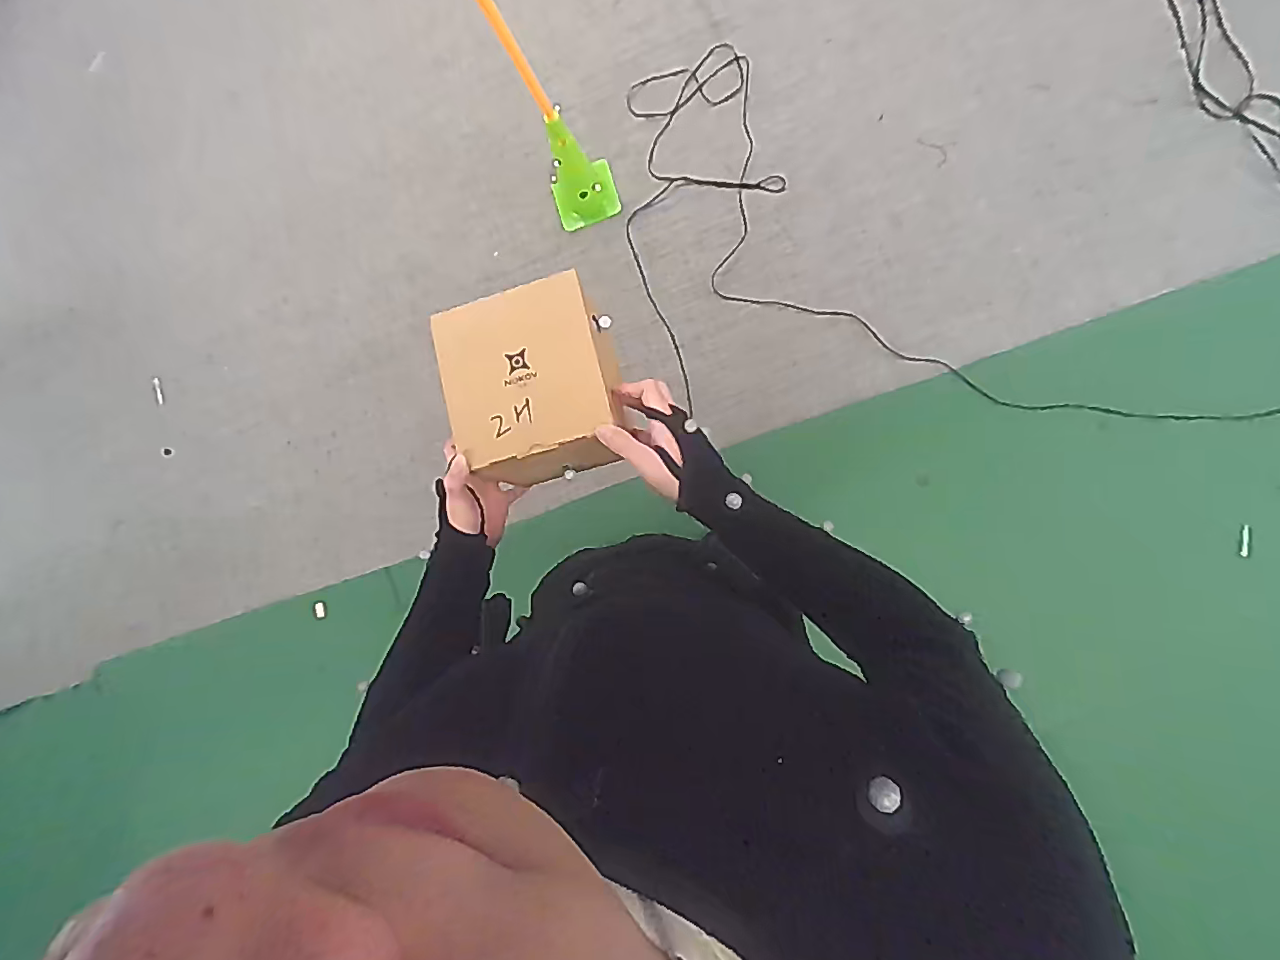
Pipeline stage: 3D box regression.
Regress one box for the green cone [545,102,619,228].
[{"bbox_3d":[-0.208,-0.939,1.571,0.202,0.368,0.200,-18,83,6],"label":"green cone"}]
